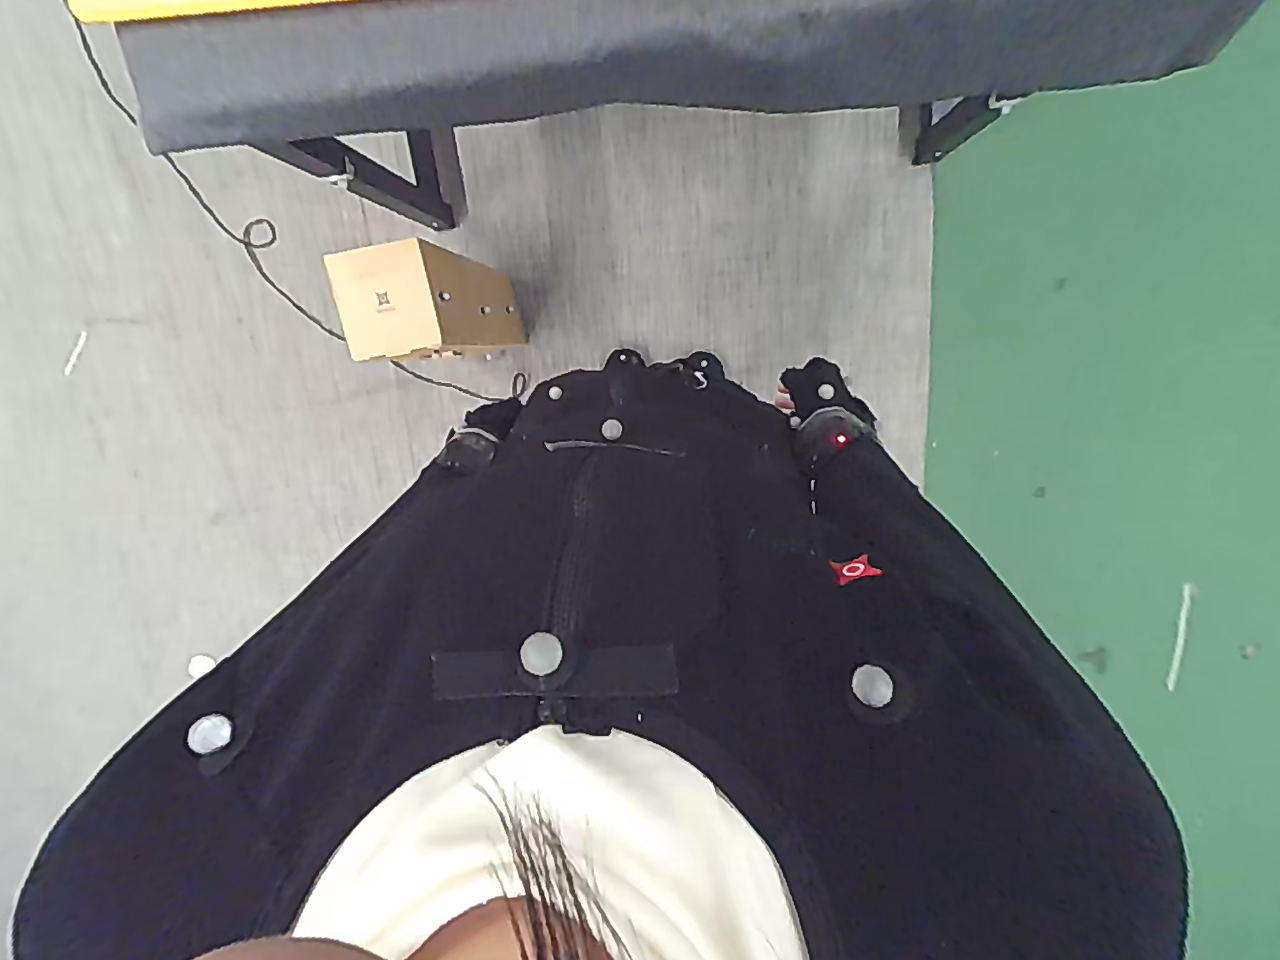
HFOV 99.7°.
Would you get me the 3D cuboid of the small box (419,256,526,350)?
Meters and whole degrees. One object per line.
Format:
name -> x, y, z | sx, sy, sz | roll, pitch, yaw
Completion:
small box -> -0.388, -0.411, 1.283 | 0.168, 0.176, 0.179 | -11, 104, 7
